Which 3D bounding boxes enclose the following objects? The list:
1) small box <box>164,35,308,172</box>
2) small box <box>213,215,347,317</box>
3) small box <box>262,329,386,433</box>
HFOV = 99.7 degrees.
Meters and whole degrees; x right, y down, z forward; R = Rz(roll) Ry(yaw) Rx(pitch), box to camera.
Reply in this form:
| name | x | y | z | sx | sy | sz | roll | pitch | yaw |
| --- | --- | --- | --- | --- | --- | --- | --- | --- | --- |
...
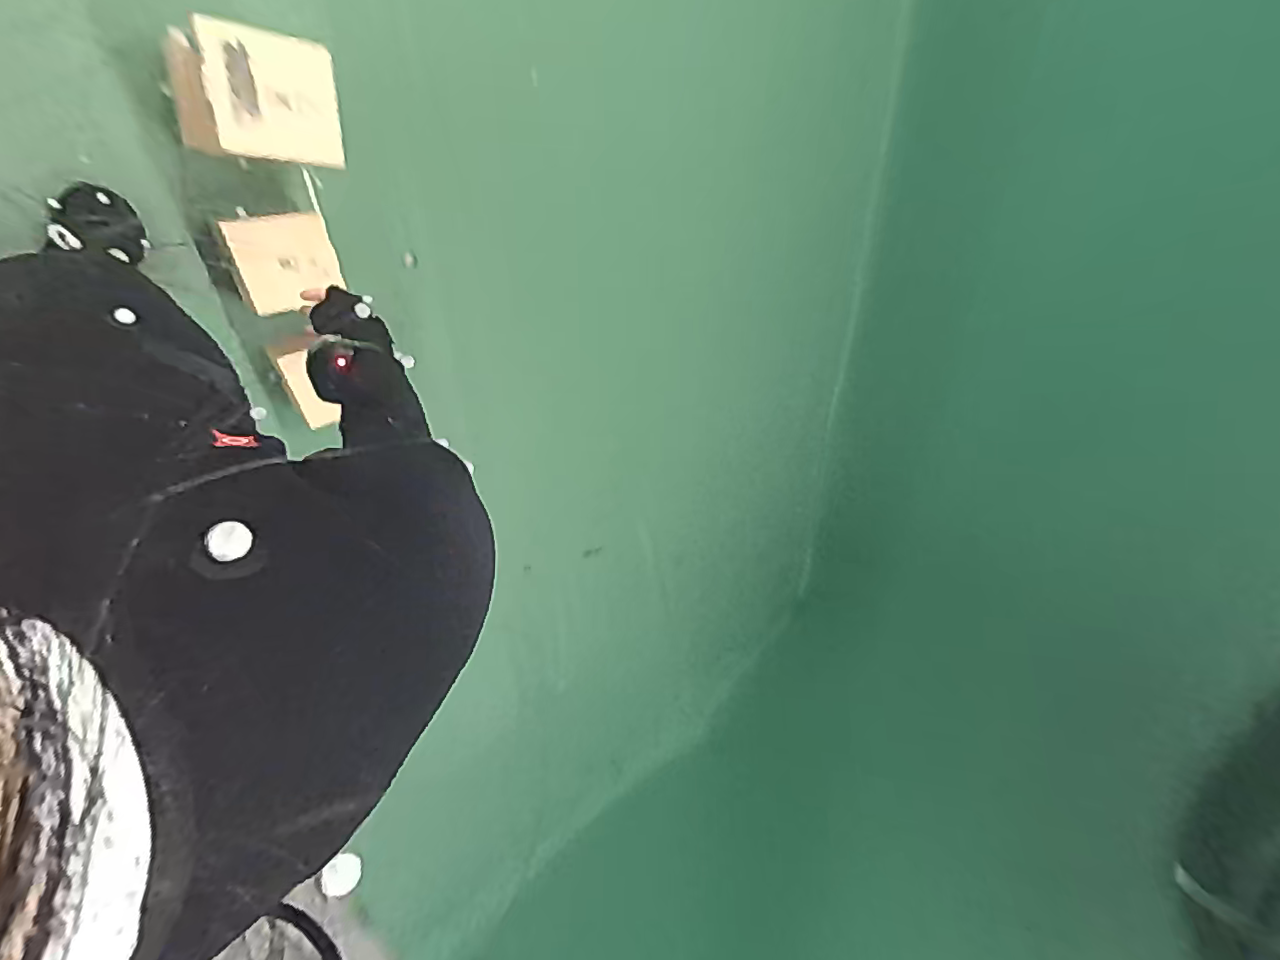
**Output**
| name | x | y | z | sx | sy | sz | roll | pitch | yaw |
| --- | --- | --- | --- | --- | --- | --- | --- | --- | --- |
| small box | -0.737 | -0.673 | 0.989 | 0.179 | 0.176 | 0.168 | -14 | 120 | -40 |
| small box | -0.741 | -0.444 | 1.109 | 0.179 | 0.176 | 0.168 | -28 | 129 | -34 |
| small box | -0.725 | -0.235 | 1.242 | 0.179 | 0.176 | 0.168 | -31 | 130 | -32 |
